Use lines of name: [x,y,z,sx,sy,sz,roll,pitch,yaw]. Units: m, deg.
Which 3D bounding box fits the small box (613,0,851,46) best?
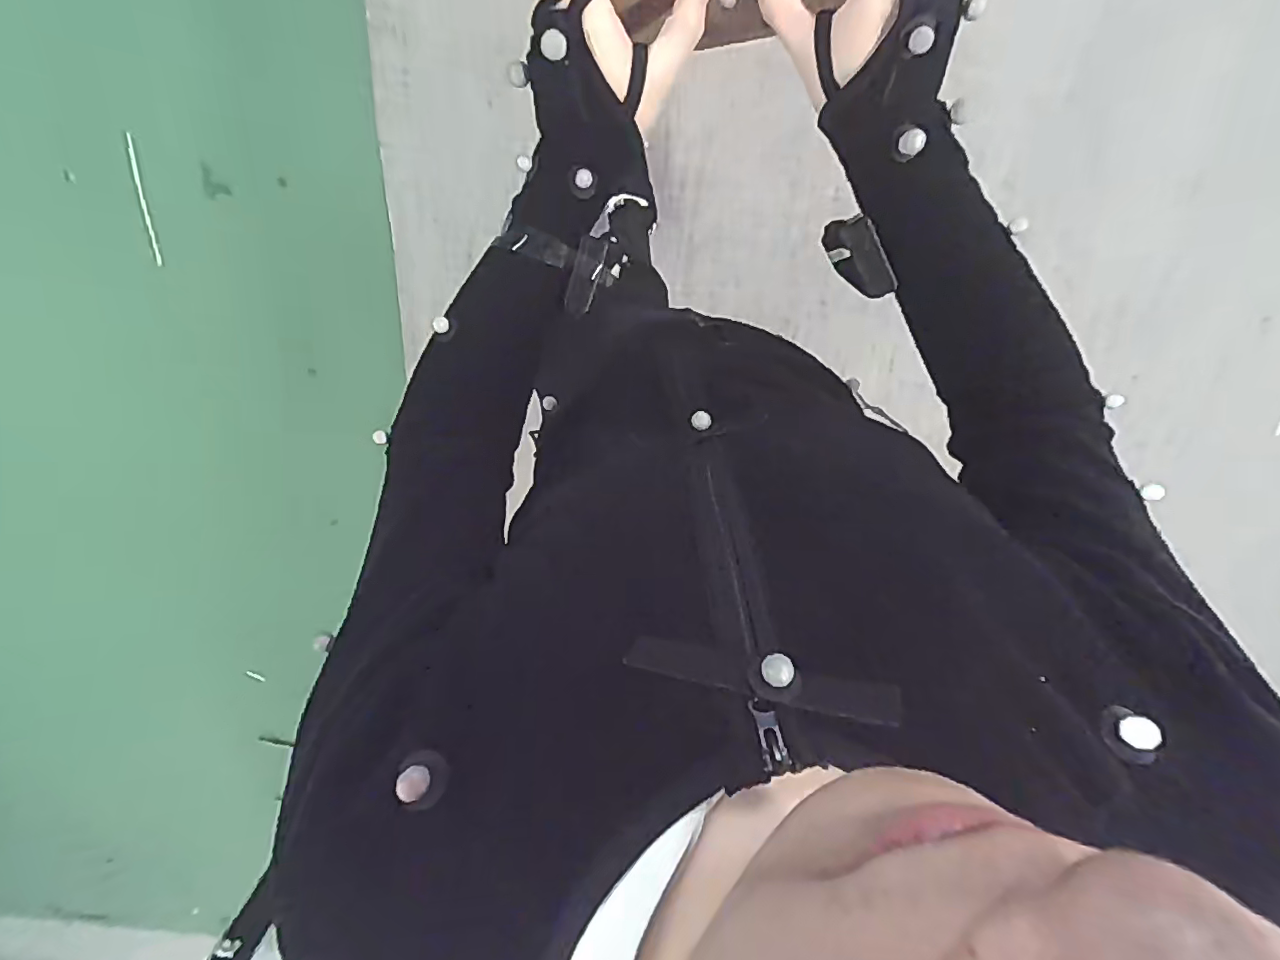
small box: [0.053,-0.395,0.316,0.168,0.176,0.179,0,103,12]
